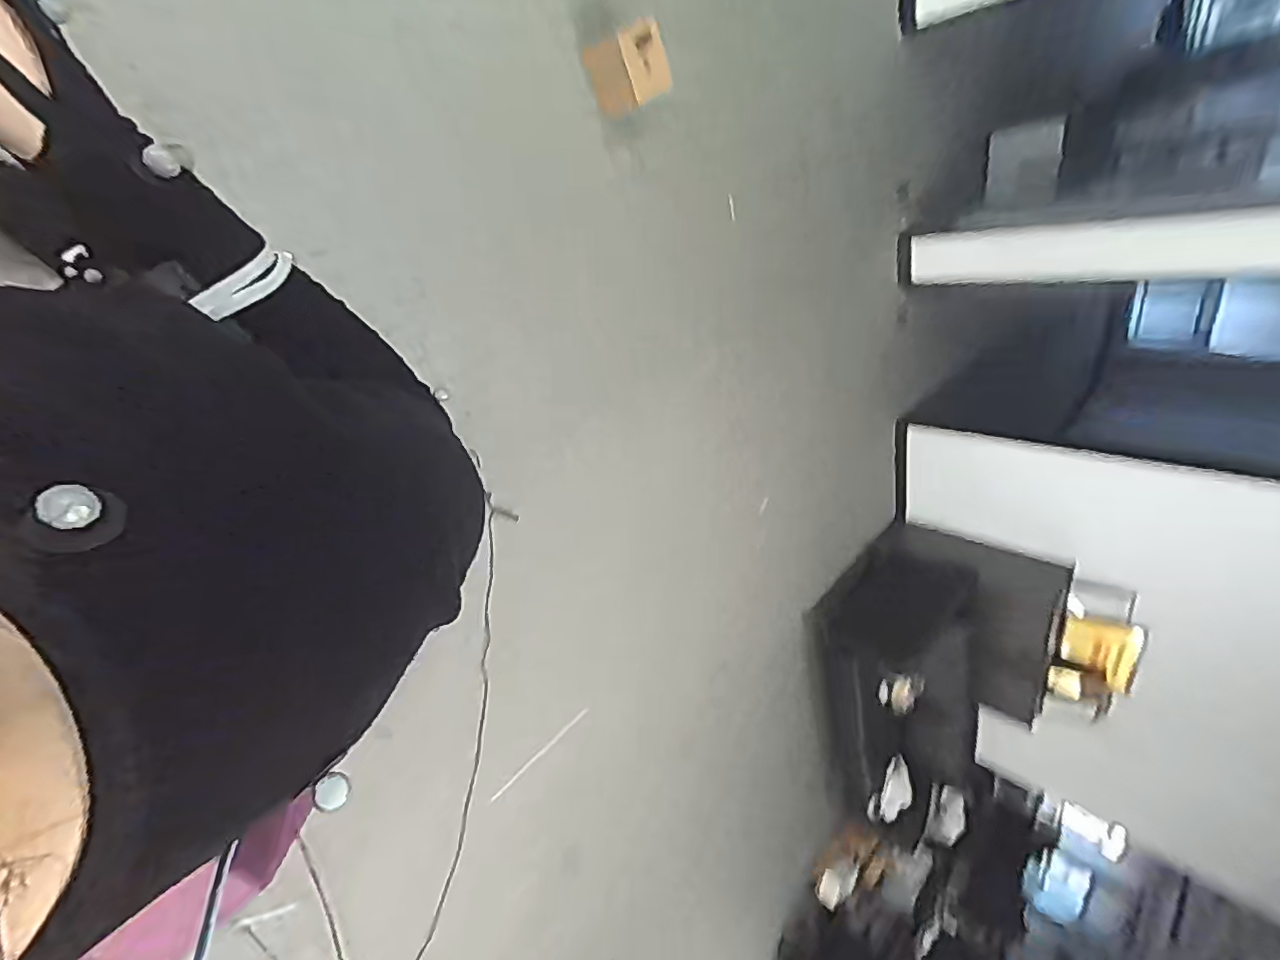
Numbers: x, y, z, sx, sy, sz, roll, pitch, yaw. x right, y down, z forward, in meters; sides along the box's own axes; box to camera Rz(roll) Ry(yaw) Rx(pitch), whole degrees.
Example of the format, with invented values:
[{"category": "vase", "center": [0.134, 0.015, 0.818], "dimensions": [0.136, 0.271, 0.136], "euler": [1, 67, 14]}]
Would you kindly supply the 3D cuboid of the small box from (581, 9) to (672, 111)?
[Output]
[{"category": "small box", "center": [-0.042, -1.223, 1.583], "dimensions": [0.168, 0.176, 0.179], "euler": [-46, 131, -23]}]
